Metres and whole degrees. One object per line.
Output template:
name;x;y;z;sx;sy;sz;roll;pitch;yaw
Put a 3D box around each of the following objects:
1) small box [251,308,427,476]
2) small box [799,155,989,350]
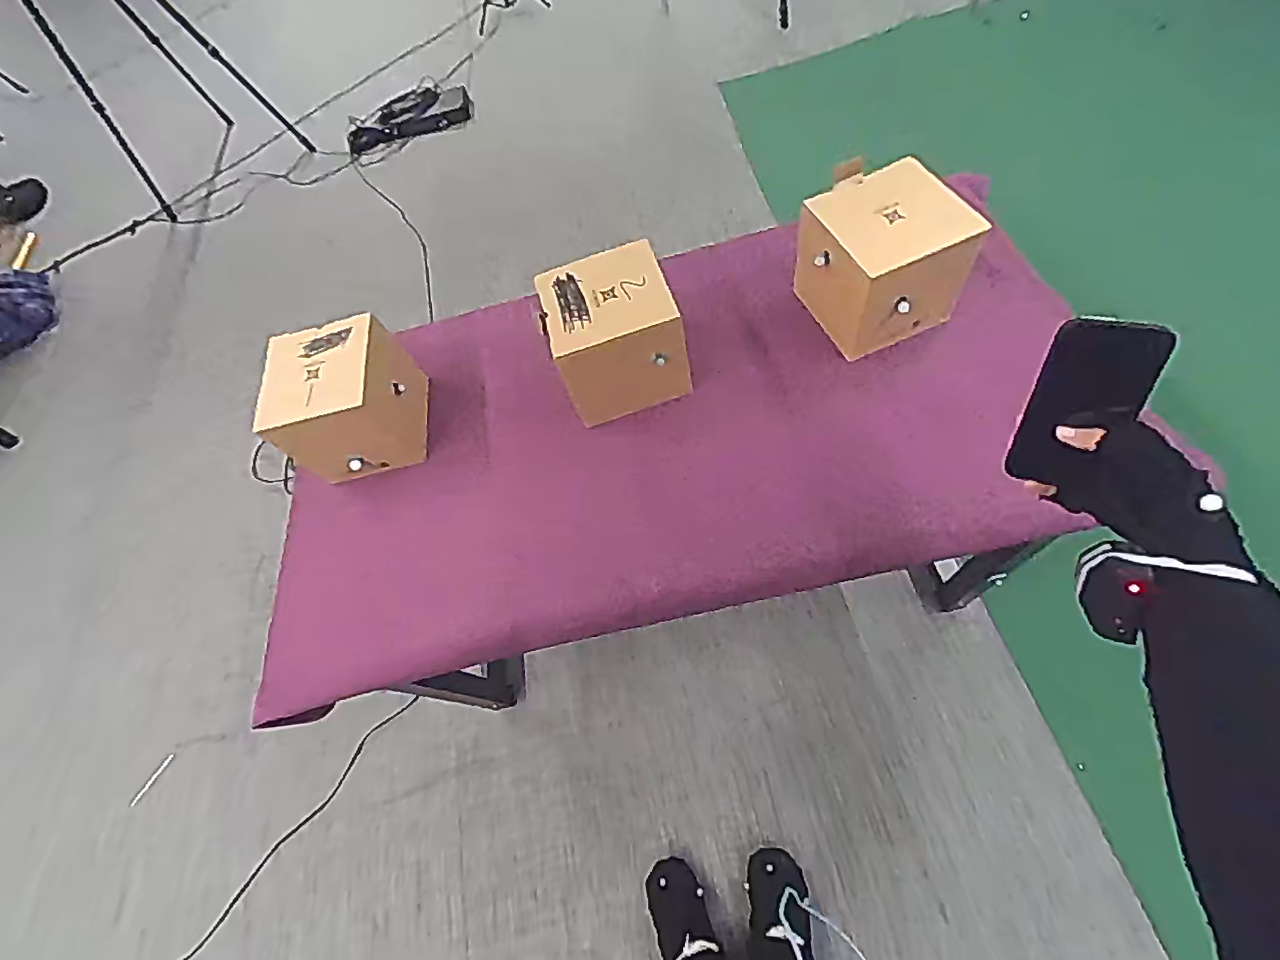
small box;-0.448;-0.130;0.837;0.168;0.176;0.179;-12;63;5
small box;0.343;-0.310;0.772;0.168;0.176;0.179;-23;61;0
